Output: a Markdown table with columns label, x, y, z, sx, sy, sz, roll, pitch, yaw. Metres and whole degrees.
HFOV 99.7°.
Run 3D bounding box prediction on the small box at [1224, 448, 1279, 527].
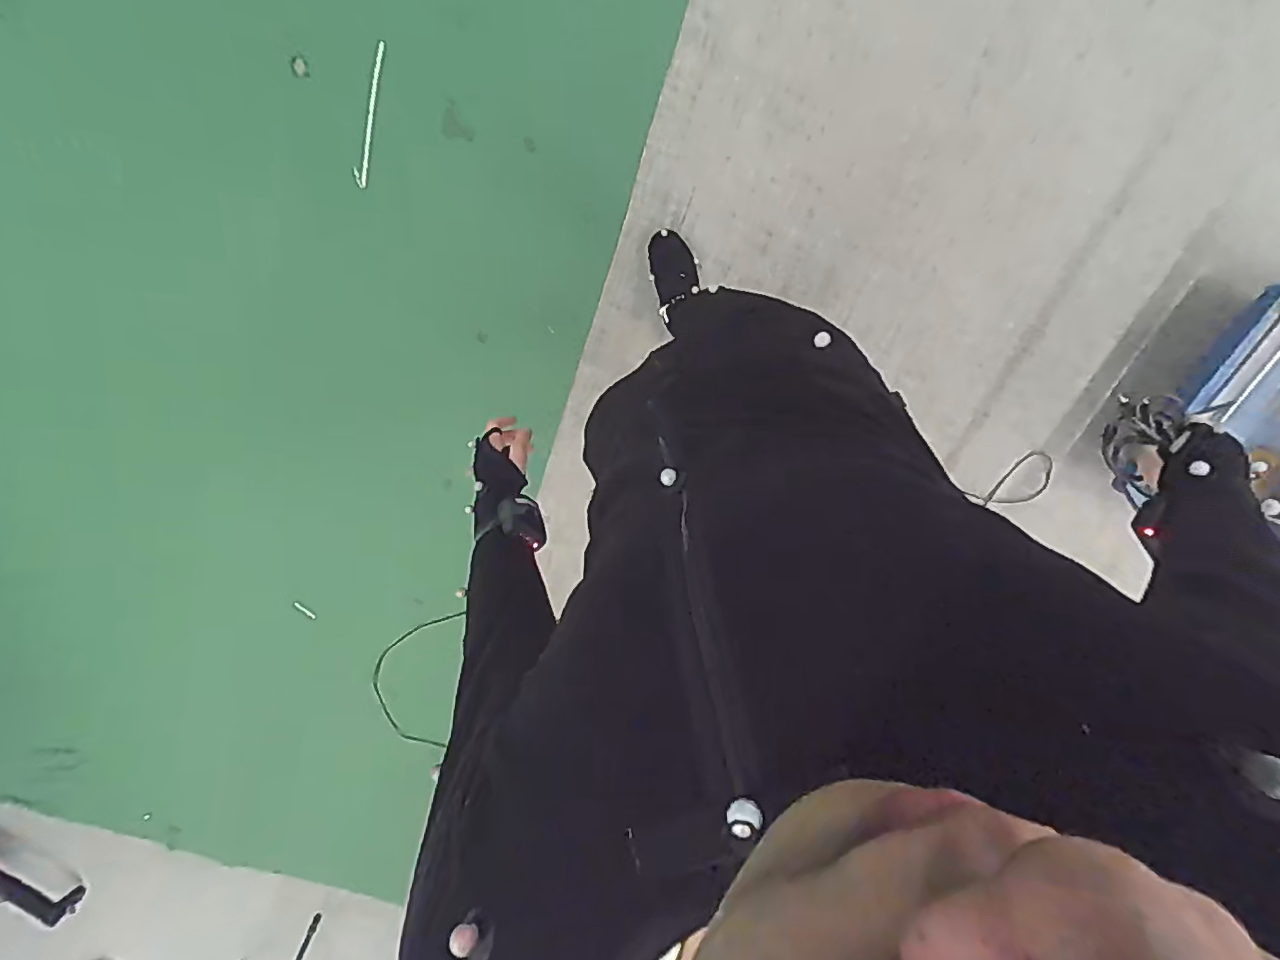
| label | x | y | z | sx | sy | sz | roll | pitch | yaw |
| --- | --- | --- | --- | --- | --- | --- | --- | --- | --- |
| small box | 1.638 | 0.040 | 1.330 | 0.179 | 0.176 | 0.168 | 20 | 114 | -4 |
